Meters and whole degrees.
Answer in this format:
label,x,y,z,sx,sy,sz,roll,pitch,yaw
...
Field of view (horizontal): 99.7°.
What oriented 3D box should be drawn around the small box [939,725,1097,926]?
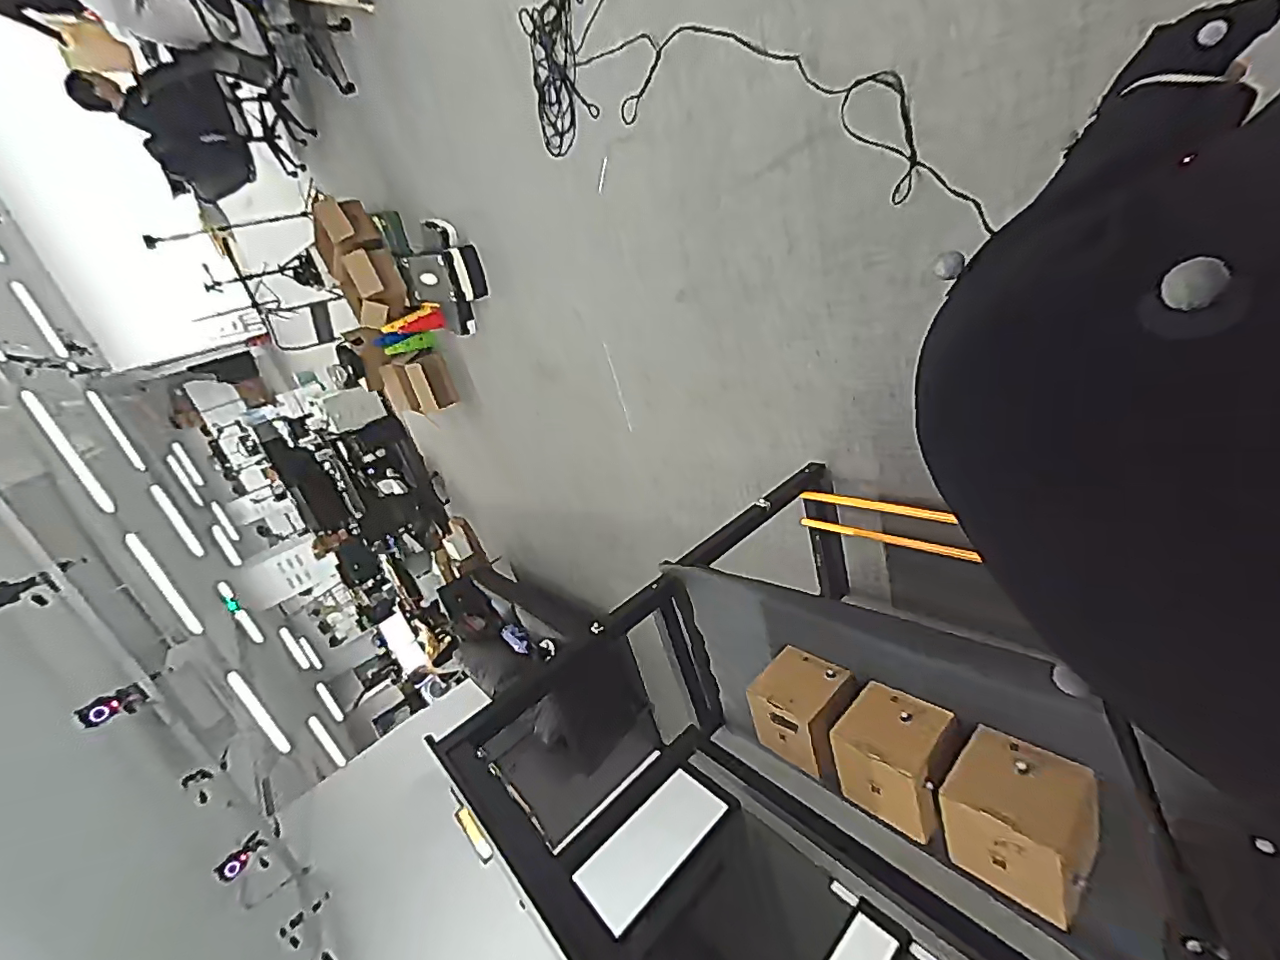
label,x,y,z,sx,sy,sz,roll,pitch,yaw
small box,0.619,0.548,0.881,0.168,0.176,0.179,8,122,52
